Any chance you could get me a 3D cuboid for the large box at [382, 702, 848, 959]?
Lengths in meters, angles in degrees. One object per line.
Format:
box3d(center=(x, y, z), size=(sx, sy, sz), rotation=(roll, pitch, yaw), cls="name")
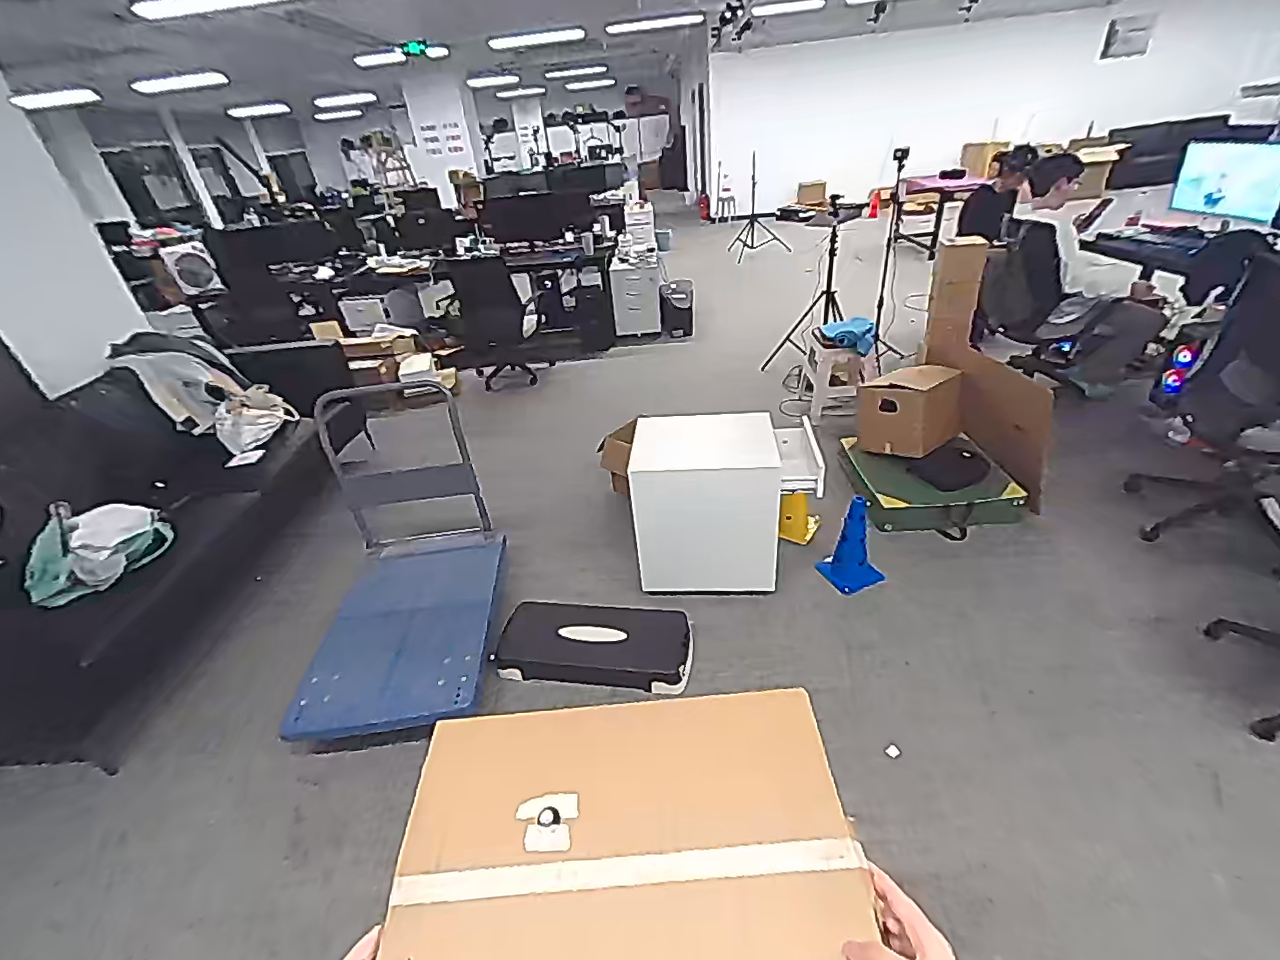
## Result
box3d(center=(0.003, 0.450, 0.593), size=(0.408, 0.320, 0.320), rotation=(-2, 53, 13), cls="large box")
